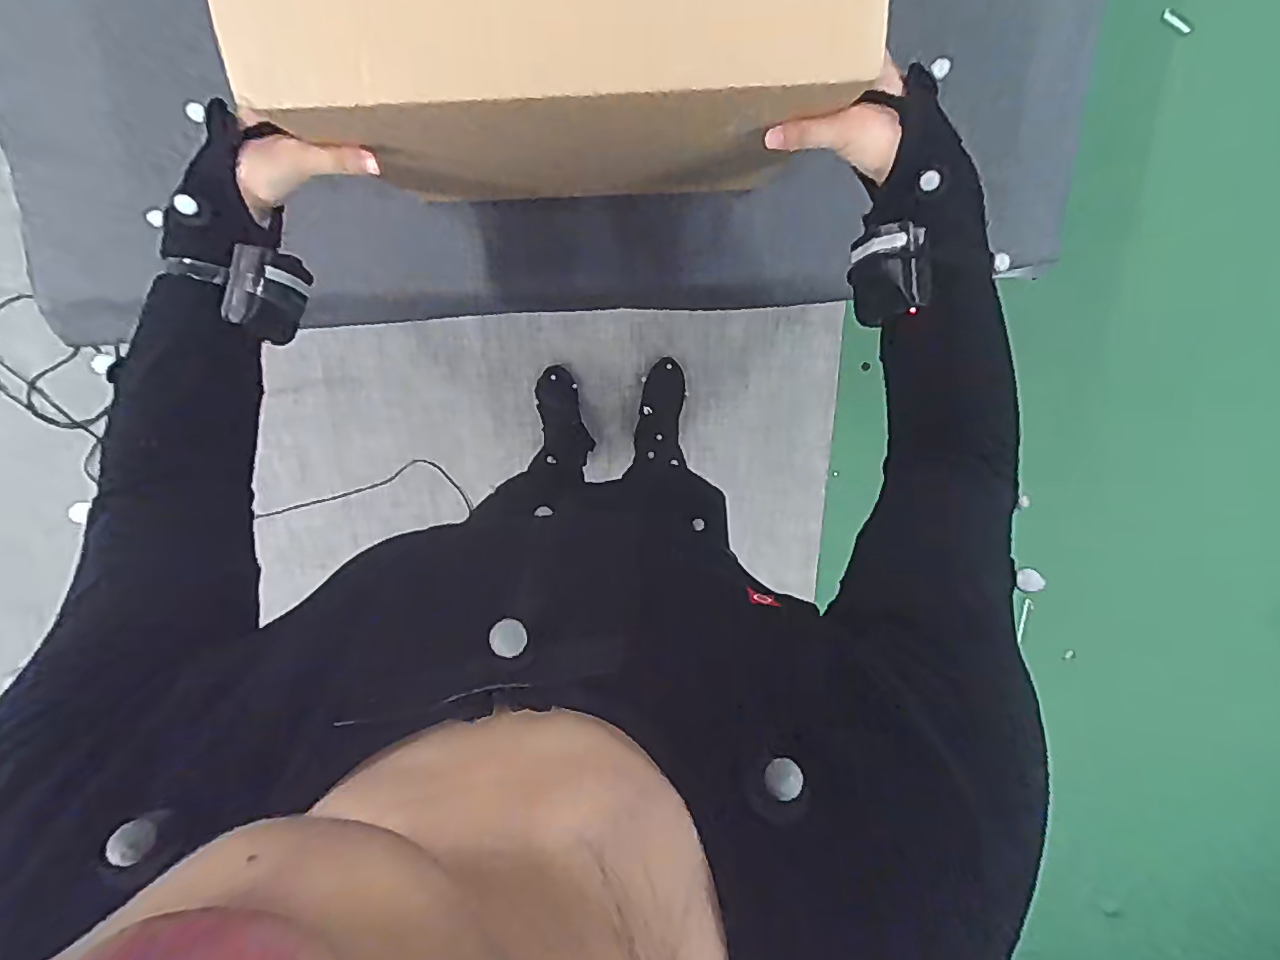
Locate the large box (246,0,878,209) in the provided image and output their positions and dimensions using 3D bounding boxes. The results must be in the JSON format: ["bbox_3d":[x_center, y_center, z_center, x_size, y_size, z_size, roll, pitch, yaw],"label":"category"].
[{"bbox_3d":[-0.059,-0.437,0.454,0.408,0.320,0.320,-4,108,-1],"label":"large box"}]
